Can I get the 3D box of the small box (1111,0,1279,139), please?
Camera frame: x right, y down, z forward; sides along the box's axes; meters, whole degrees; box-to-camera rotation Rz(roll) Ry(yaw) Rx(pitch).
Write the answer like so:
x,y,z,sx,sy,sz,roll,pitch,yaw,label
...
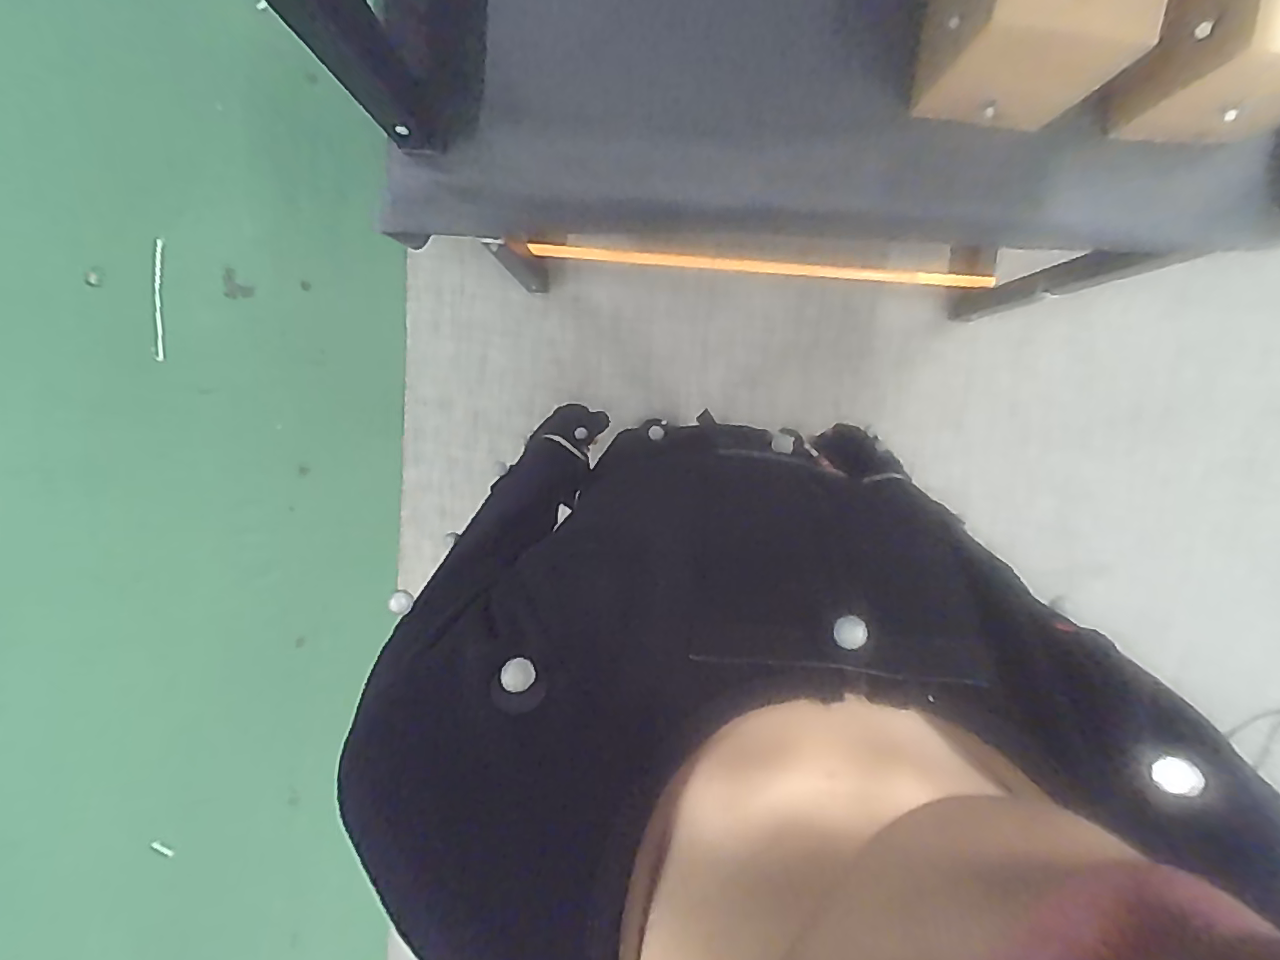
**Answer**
x,y,z,sx,sy,sz,roll,pitch,yaw,label
0.677,-0.509,0.597,0.168,0.176,0.179,4,96,0,small box
